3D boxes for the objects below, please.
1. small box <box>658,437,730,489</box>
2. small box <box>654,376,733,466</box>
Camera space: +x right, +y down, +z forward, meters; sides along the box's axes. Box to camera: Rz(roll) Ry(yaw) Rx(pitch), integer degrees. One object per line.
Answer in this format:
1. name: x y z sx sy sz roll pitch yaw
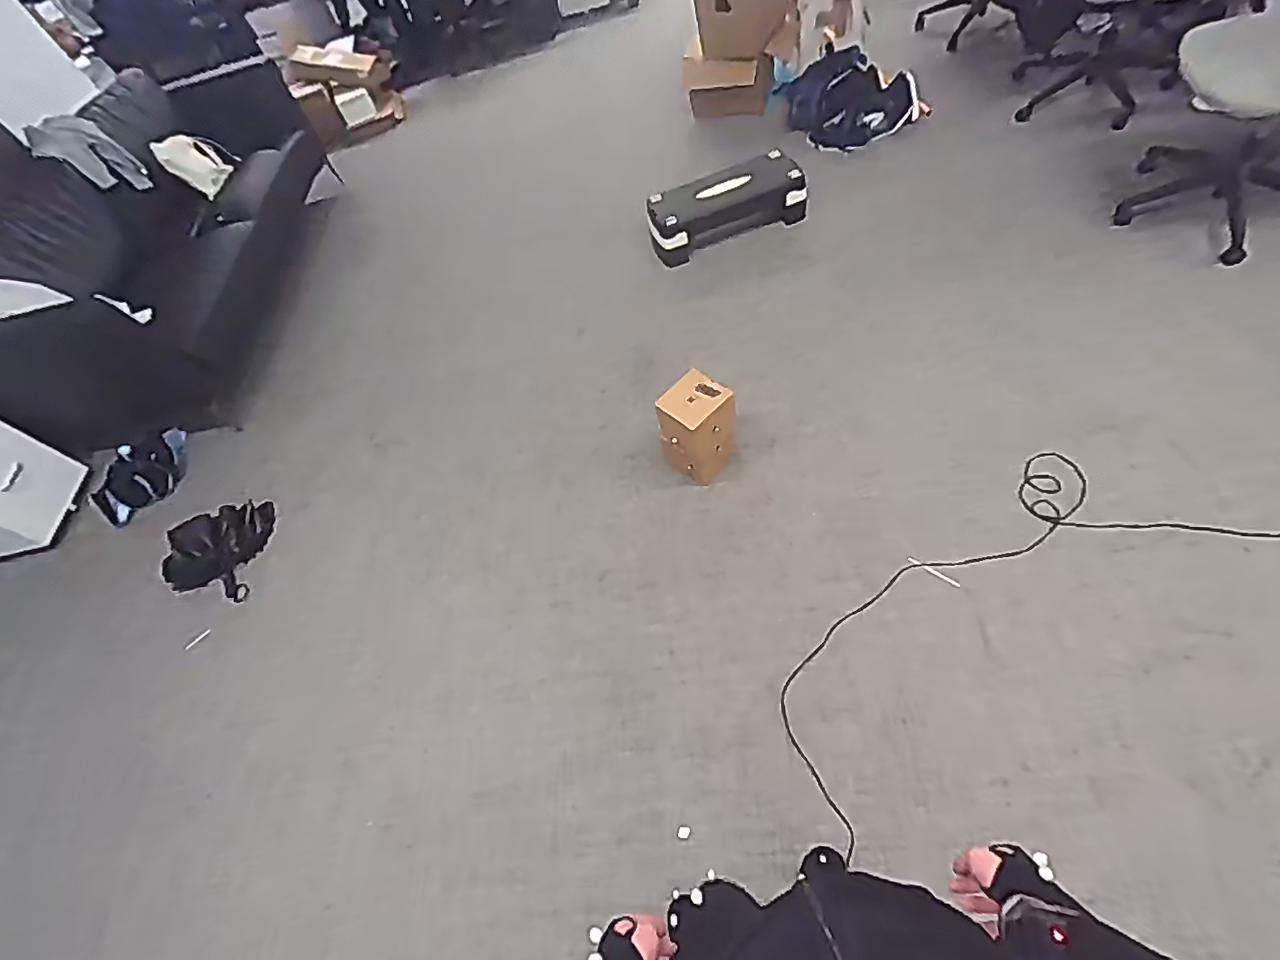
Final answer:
1. small box: 0.188 -0.101 1.799 0.168 0.176 0.179 31 68 28
2. small box: 0.168 -0.178 1.654 0.179 0.176 0.168 -43 59 -14
